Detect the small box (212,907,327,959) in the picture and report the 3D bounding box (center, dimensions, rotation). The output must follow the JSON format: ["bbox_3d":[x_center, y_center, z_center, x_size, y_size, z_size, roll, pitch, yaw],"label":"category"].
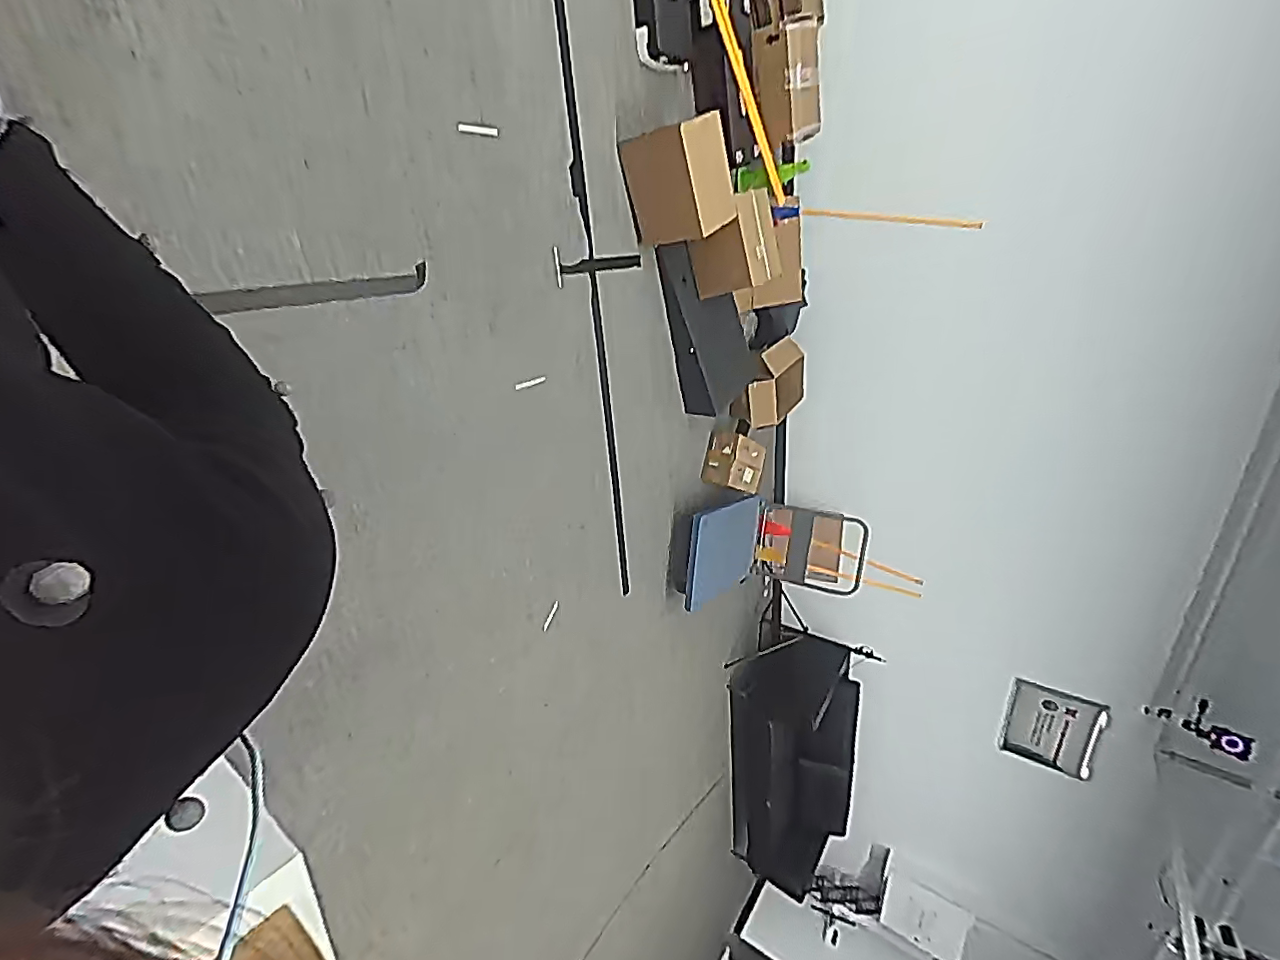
[{"bbox_3d":[-0.619,0.878,0.900,0.168,0.176,0.179,-24,121,-50],"label":"small box"}]
